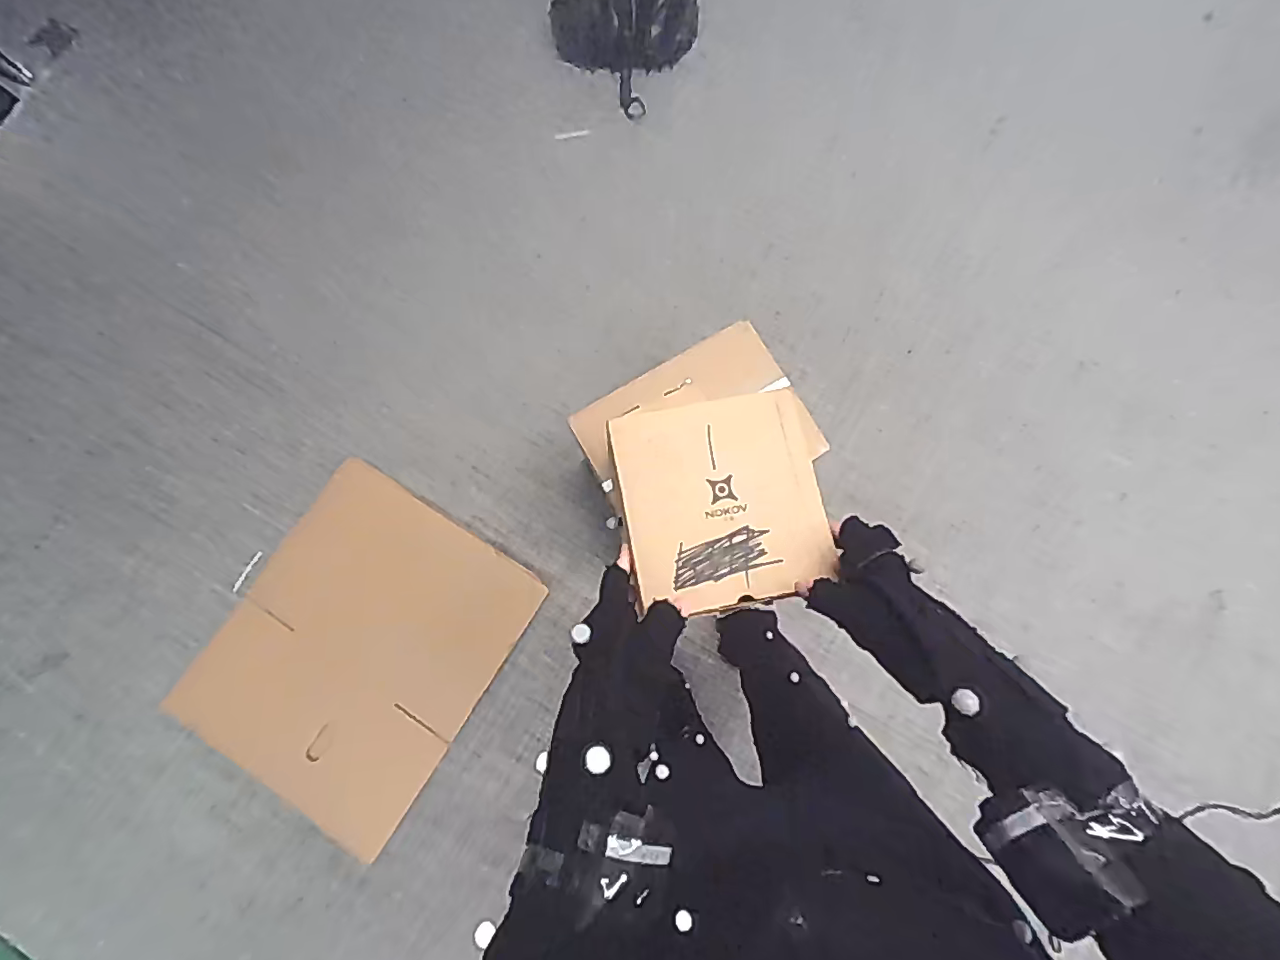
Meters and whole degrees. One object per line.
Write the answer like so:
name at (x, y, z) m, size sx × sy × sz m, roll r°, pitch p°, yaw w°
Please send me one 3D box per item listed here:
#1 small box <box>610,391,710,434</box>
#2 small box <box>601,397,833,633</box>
small box at (0.061, -0.021, 0.931) m, size 0.168 × 0.176 × 0.179 m, roll -26°, pitch 81°, yaw -3°
small box at (0.063, 0.041, 0.540) m, size 0.168 × 0.176 × 0.179 m, roll -14°, pitch 78°, yaw -5°
